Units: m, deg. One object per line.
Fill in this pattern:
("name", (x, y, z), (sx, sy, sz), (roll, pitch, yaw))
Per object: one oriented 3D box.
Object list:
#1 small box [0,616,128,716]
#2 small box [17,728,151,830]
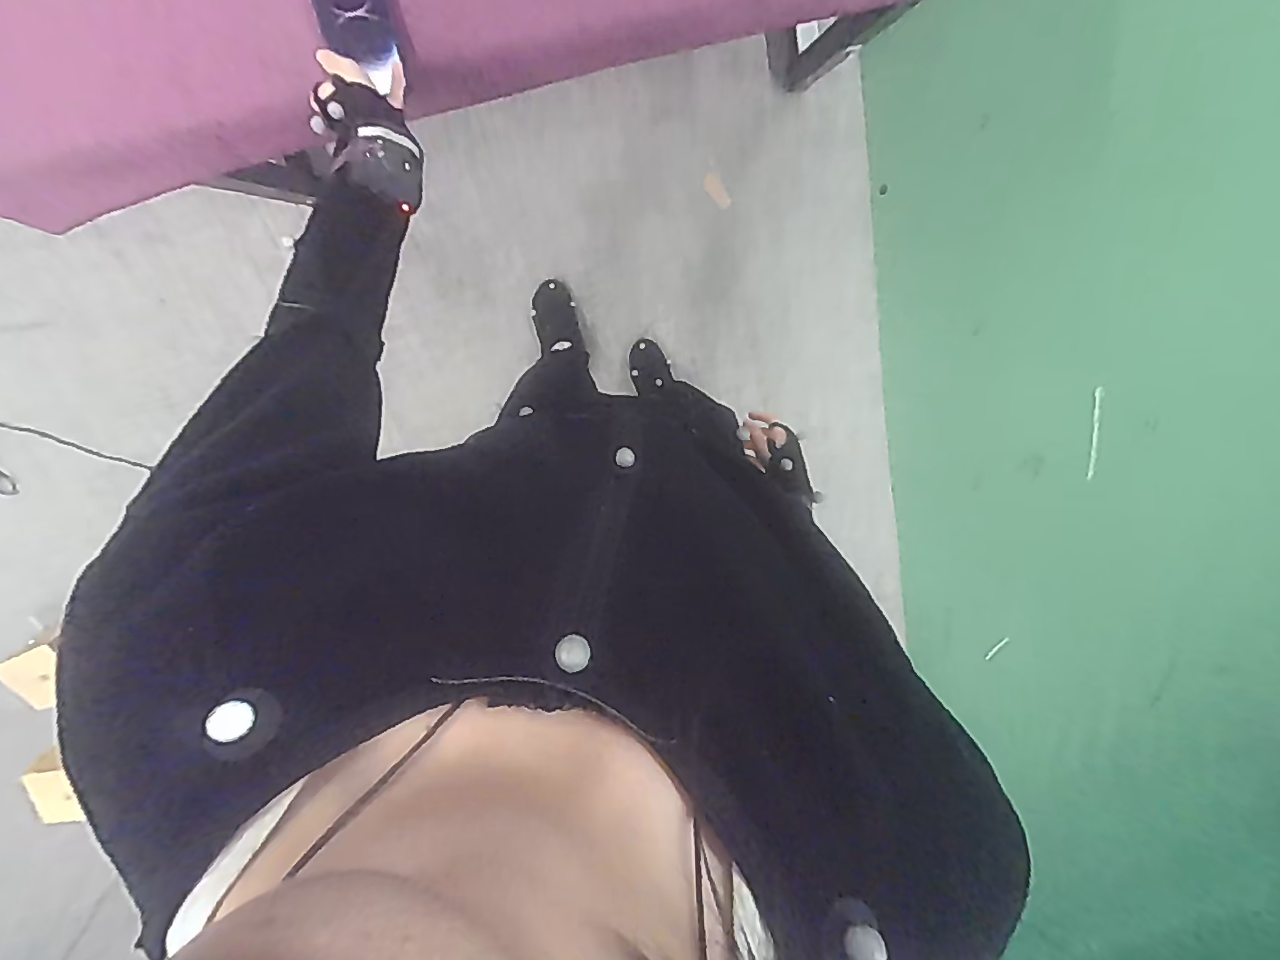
("small box", (-1.584, 0.506, 1.493), (0.179, 0.176, 0.168), (-22, 112, 3))
("small box", (-1.473, 0.796, 1.448), (0.168, 0.176, 0.179), (0, 110, -6))
